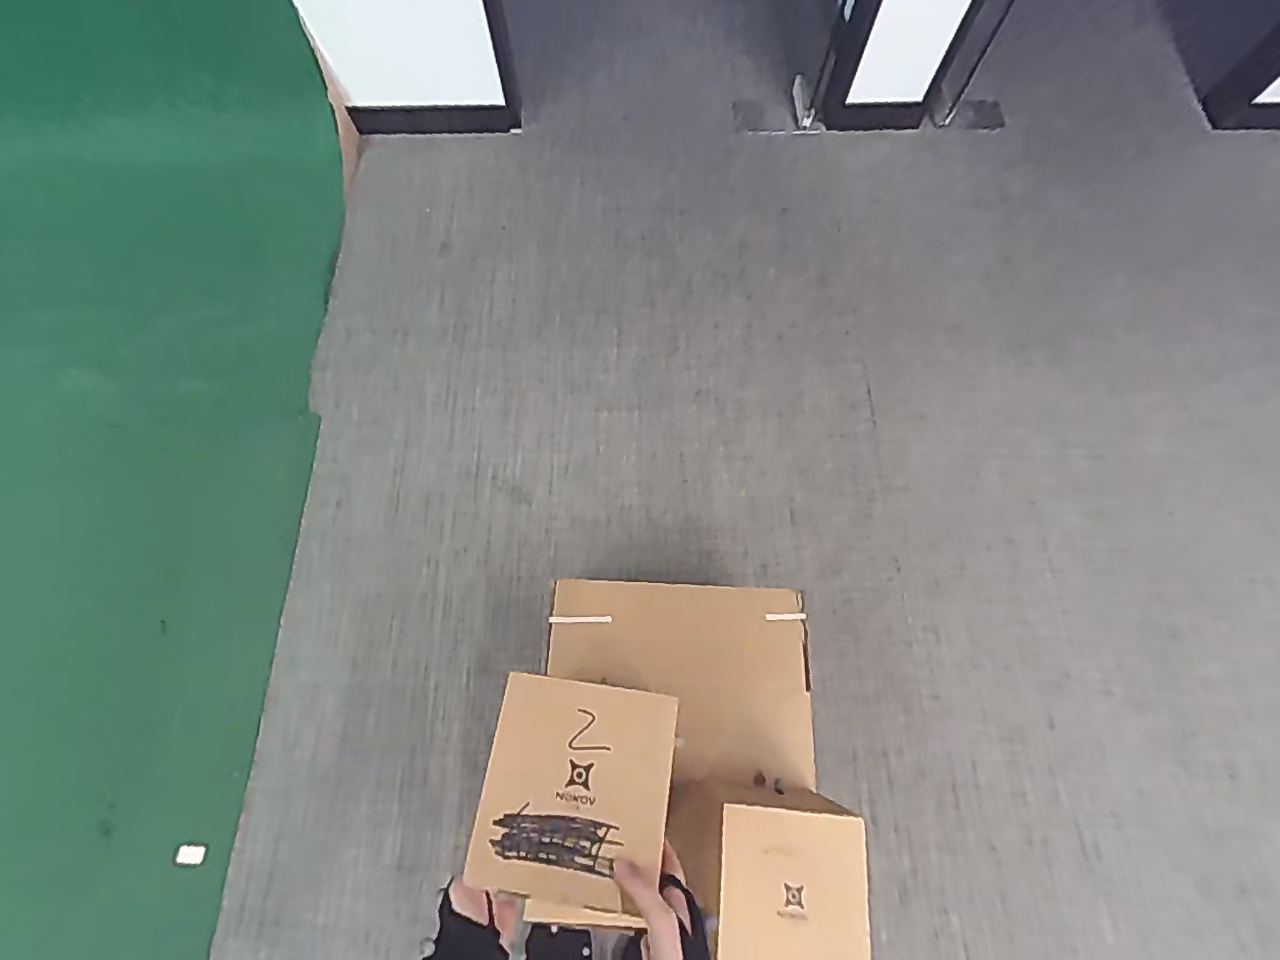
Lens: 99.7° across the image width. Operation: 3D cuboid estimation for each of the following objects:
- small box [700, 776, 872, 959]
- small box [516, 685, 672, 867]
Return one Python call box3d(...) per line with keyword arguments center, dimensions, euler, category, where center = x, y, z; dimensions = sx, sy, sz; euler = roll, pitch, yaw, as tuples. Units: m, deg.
box3d(center=(0.168, 0.481, 0.664), dimensions=(0.168, 0.176, 0.179), euler=(6, 68, 0), category="small box")
box3d(center=(-0.051, 0.371, 0.704), dimensions=(0.168, 0.176, 0.179), euler=(5, 68, 3), category="small box")
